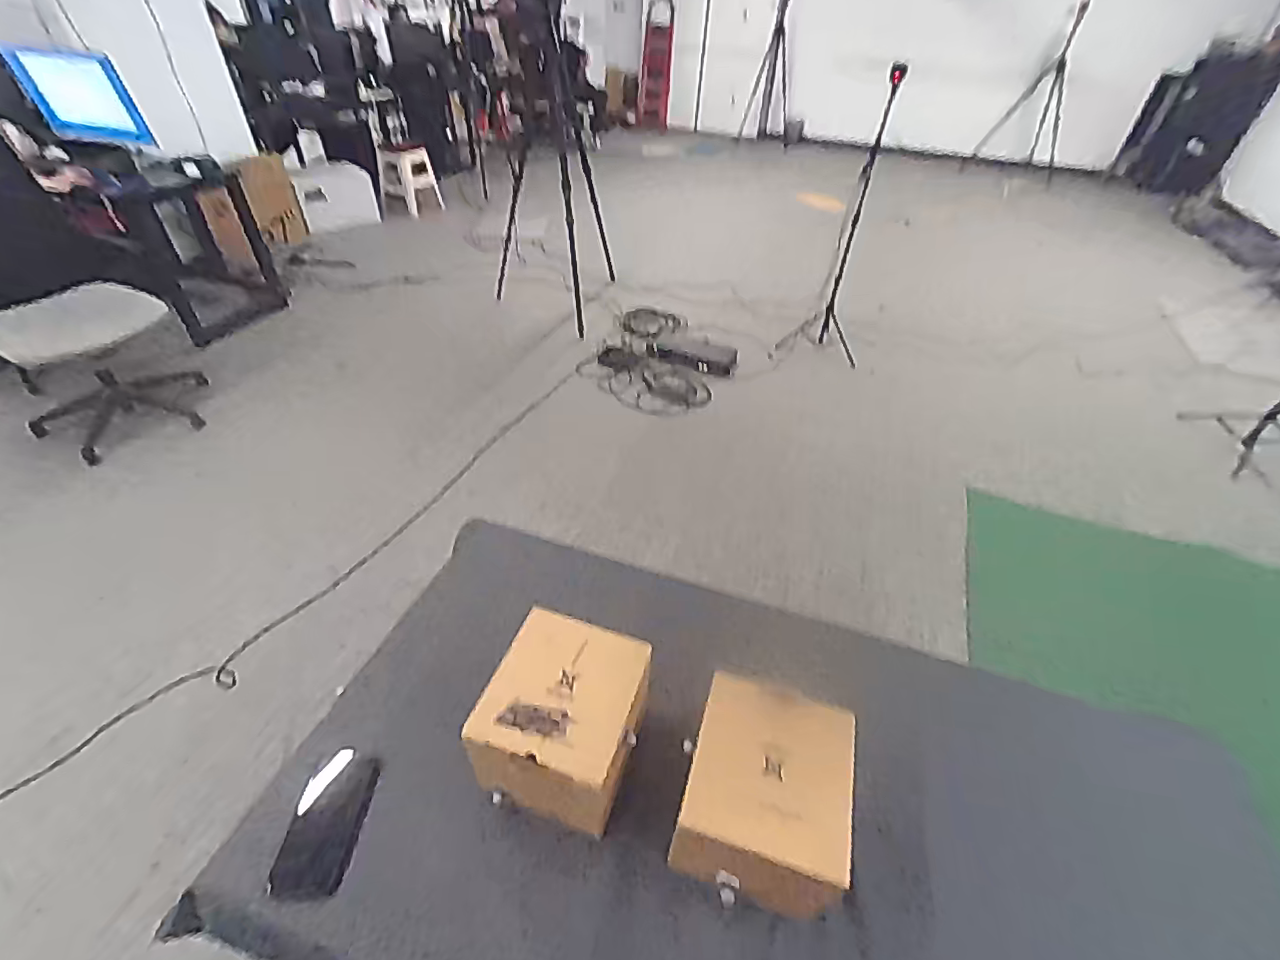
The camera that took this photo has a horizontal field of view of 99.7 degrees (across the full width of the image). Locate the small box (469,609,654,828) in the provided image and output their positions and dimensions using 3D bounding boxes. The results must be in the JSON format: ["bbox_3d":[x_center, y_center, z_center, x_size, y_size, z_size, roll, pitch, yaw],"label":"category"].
[{"bbox_3d":[-0.088,0.302,0.686,0.168,0.176,0.179,15,42,12],"label":"small box"}]

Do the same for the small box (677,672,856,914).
[{"bbox_3d":[0.145,0.366,0.637,0.168,0.176,0.179,13,44,12],"label":"small box"}]
